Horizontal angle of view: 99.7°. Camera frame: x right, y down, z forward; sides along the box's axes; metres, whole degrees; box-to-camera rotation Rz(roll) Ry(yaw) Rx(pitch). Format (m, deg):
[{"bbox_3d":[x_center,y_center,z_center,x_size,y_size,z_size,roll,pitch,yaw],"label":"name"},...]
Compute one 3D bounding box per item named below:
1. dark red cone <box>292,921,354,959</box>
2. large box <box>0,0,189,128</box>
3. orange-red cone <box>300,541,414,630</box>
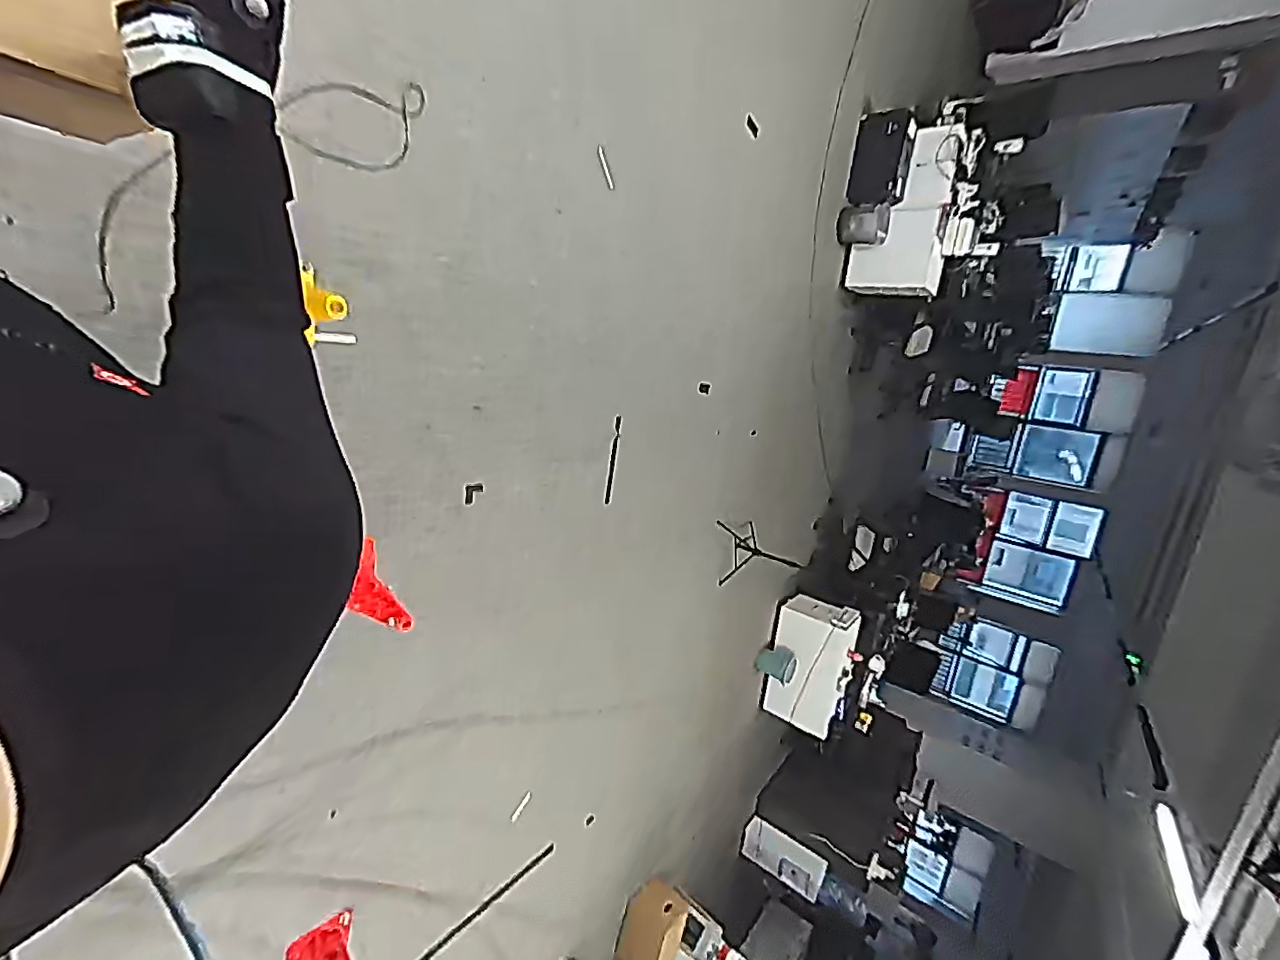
[{"bbox_3d":[-0.902,1.586,1.639,0.201,0.394,0.202,1,102,-53],"label":"dark red cone"},{"bbox_3d":[-0.551,-0.455,0.297,0.408,0.320,0.320,-7,113,-53],"label":"large box"},{"bbox_3d":[-0.716,0.316,1.432,0.198,0.360,0.199,-13,112,-52],"label":"orange-red cone"}]
